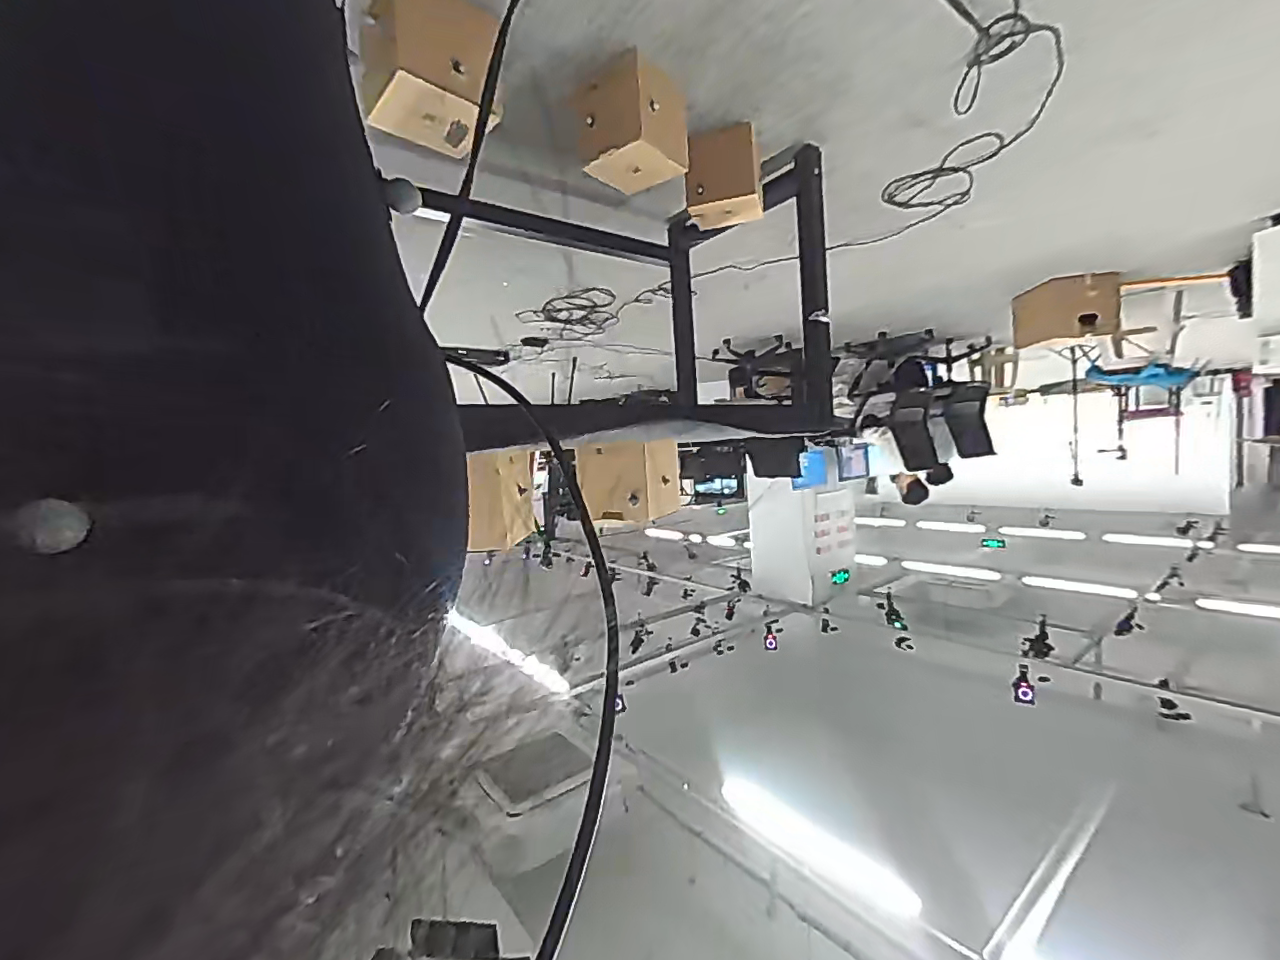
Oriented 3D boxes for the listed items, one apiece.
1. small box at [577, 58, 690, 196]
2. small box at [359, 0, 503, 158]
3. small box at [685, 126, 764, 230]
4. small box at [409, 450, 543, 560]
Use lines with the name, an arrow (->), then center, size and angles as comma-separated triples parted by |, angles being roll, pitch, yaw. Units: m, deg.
small box -> -0.015, -0.733, 1.130 | 0.168, 0.176, 0.179 | -1, -174, 38
small box -> -0.355, -0.693, 0.919 | 0.179, 0.176, 0.168 | -6, -177, -43
small box -> 0.215, -0.767, 1.379 | 0.179, 0.176, 0.168 | -3, -176, 19
small box -> -0.287, 0.035, 0.966 | 0.179, 0.176, 0.168 | -4, -174, 6
